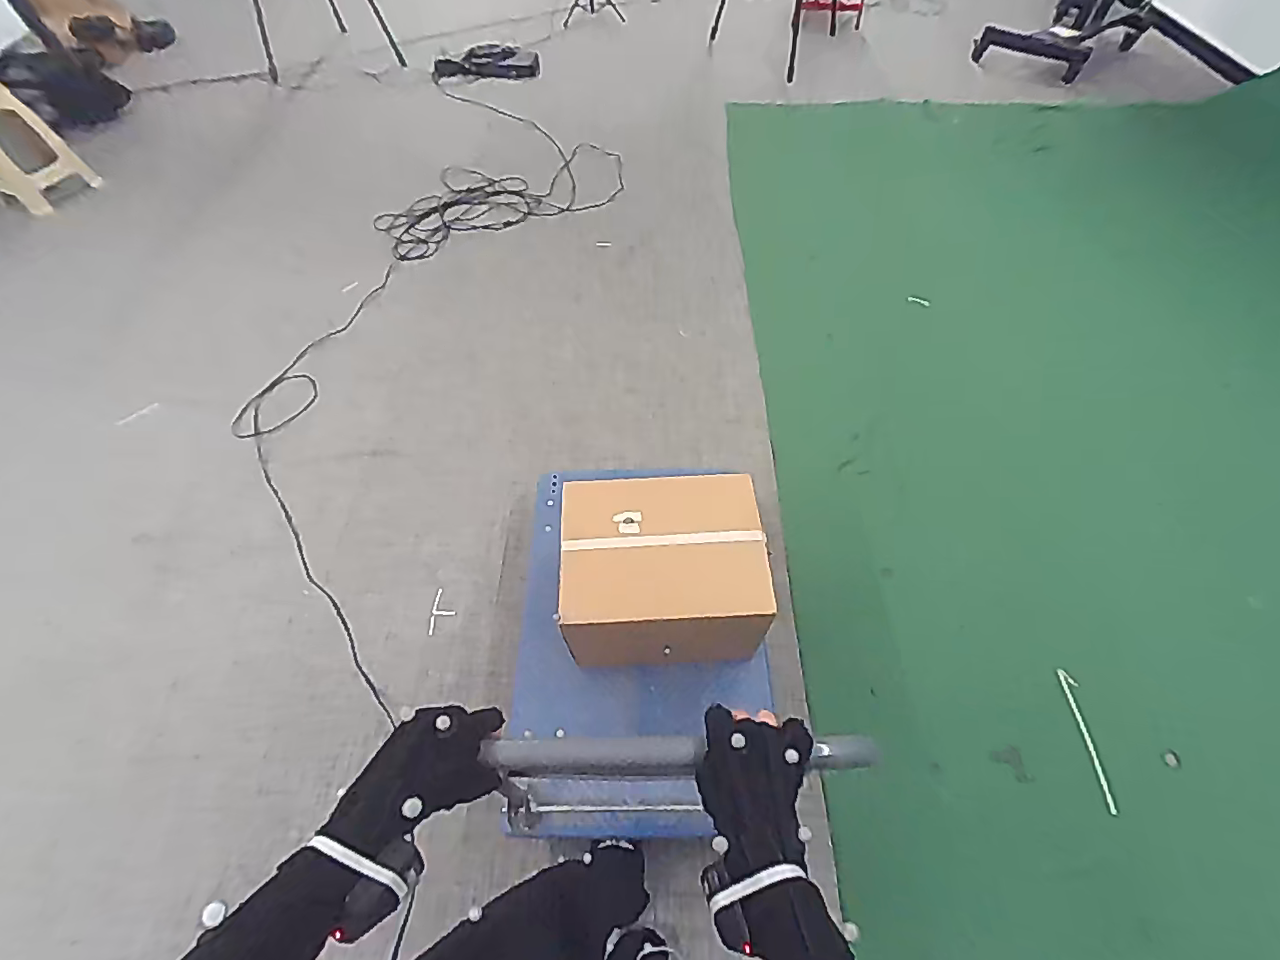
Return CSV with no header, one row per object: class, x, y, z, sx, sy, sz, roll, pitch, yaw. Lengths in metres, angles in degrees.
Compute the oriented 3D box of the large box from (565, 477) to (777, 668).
large box,0.056,0.218,1.213,0.408,0.320,0.320,-4,56,0
